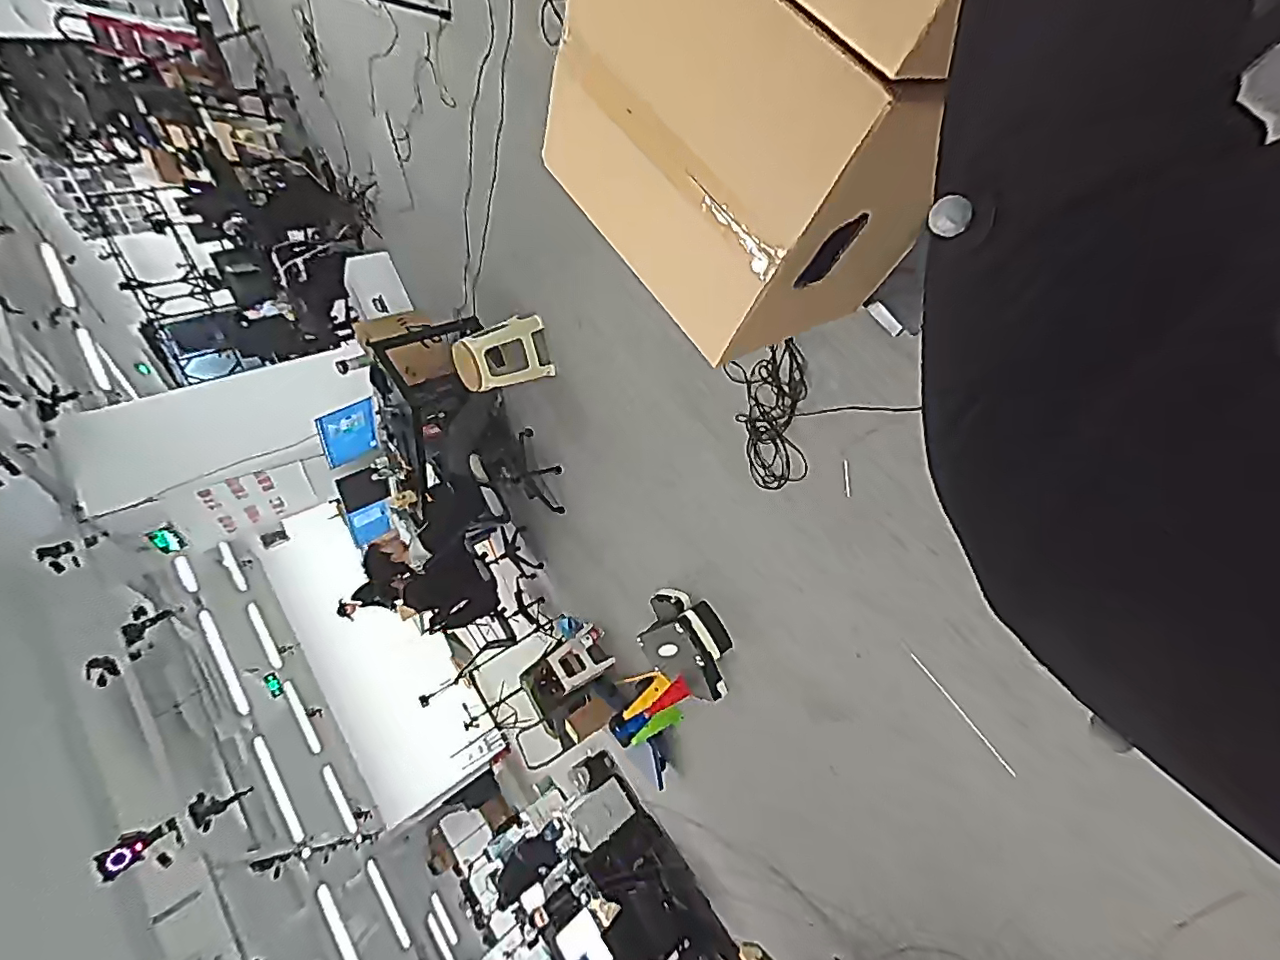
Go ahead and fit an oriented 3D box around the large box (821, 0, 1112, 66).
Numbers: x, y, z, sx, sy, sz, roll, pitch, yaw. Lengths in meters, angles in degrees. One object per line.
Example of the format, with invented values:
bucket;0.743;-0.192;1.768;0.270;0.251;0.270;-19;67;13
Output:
large box;0.243;-0.590;0.407;0.408;0.320;0.320;53;148;15
